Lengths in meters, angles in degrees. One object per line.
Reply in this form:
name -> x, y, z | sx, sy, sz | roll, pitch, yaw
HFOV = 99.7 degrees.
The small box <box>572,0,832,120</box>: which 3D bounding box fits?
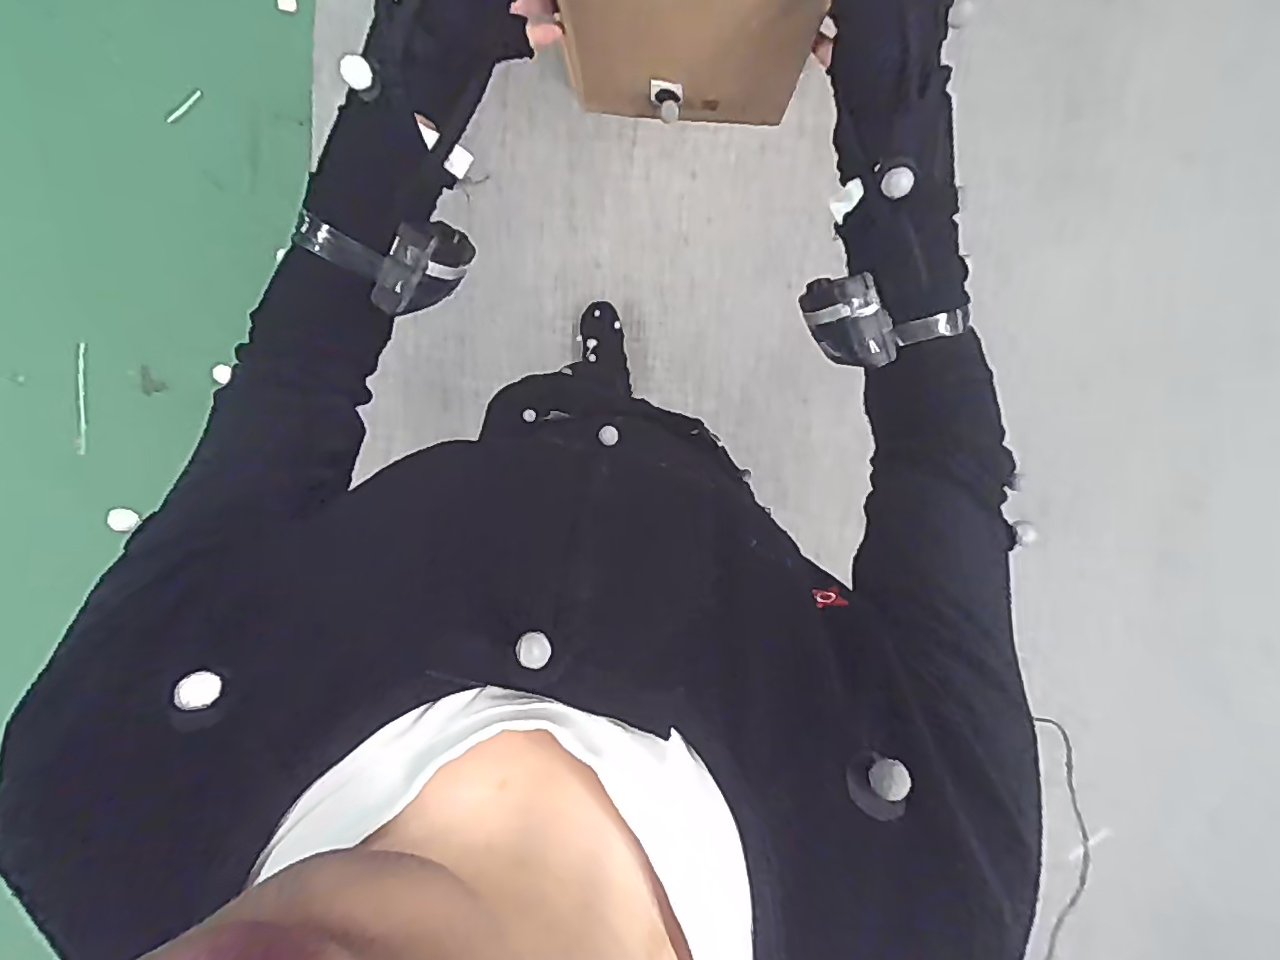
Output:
small box -> 0.041, -0.380, 0.356 | 0.168, 0.176, 0.179 | 4, 96, 1
